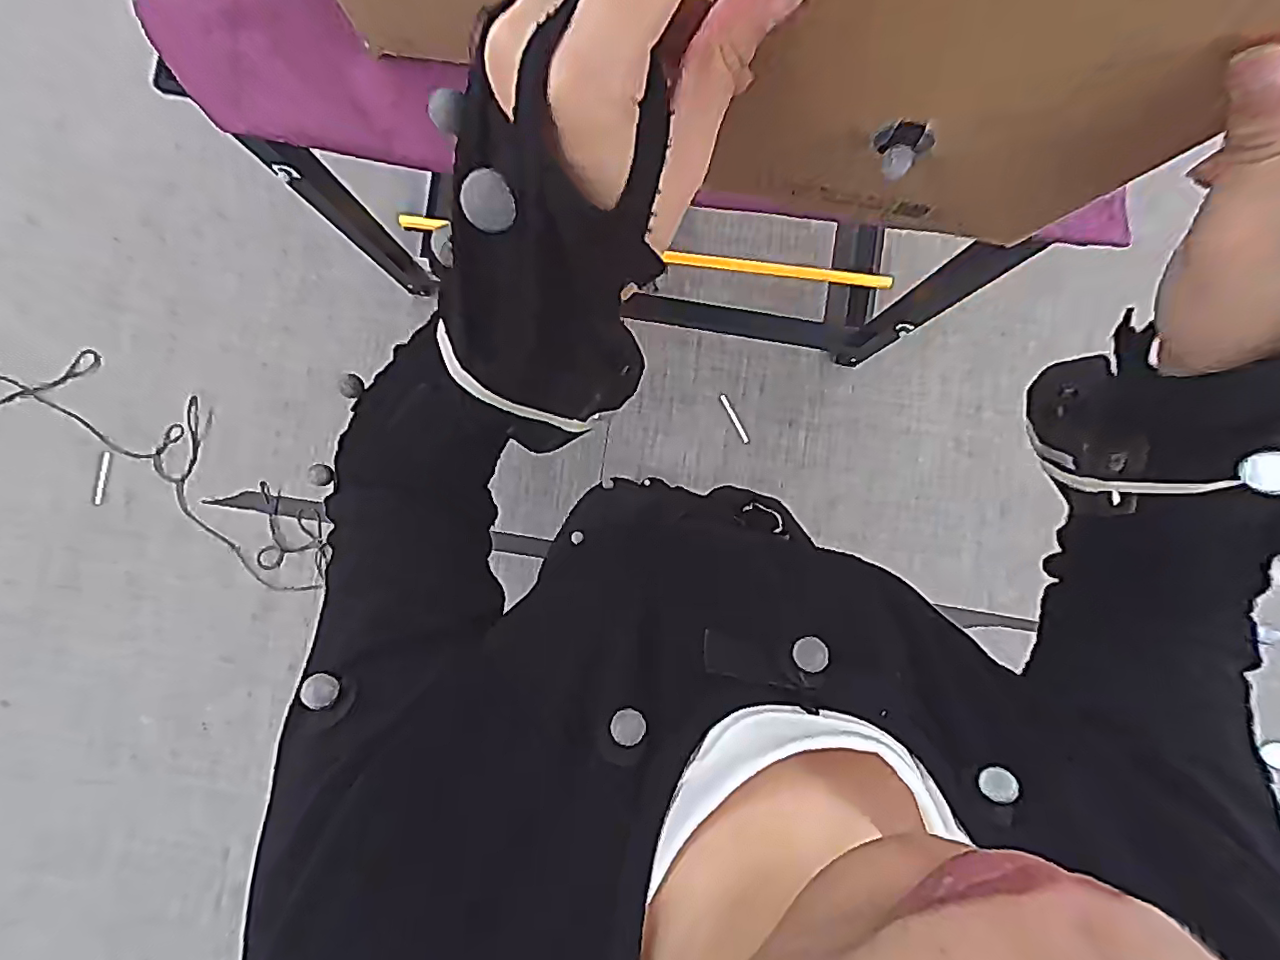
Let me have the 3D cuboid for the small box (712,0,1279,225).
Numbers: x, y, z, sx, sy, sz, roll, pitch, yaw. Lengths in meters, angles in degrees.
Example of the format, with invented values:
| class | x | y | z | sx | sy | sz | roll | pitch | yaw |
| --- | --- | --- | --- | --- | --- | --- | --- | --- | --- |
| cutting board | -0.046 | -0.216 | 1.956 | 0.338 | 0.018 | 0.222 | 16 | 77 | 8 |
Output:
| class | x | y | z | sx | sy | sz | roll | pitch | yaw |
| --- | --- | --- | --- | --- | --- | --- | --- | --- | --- |
| small box | 0.122 | -0.212 | 0.183 | 0.168 | 0.176 | 0.179 | 12 | 96 | 3 |
